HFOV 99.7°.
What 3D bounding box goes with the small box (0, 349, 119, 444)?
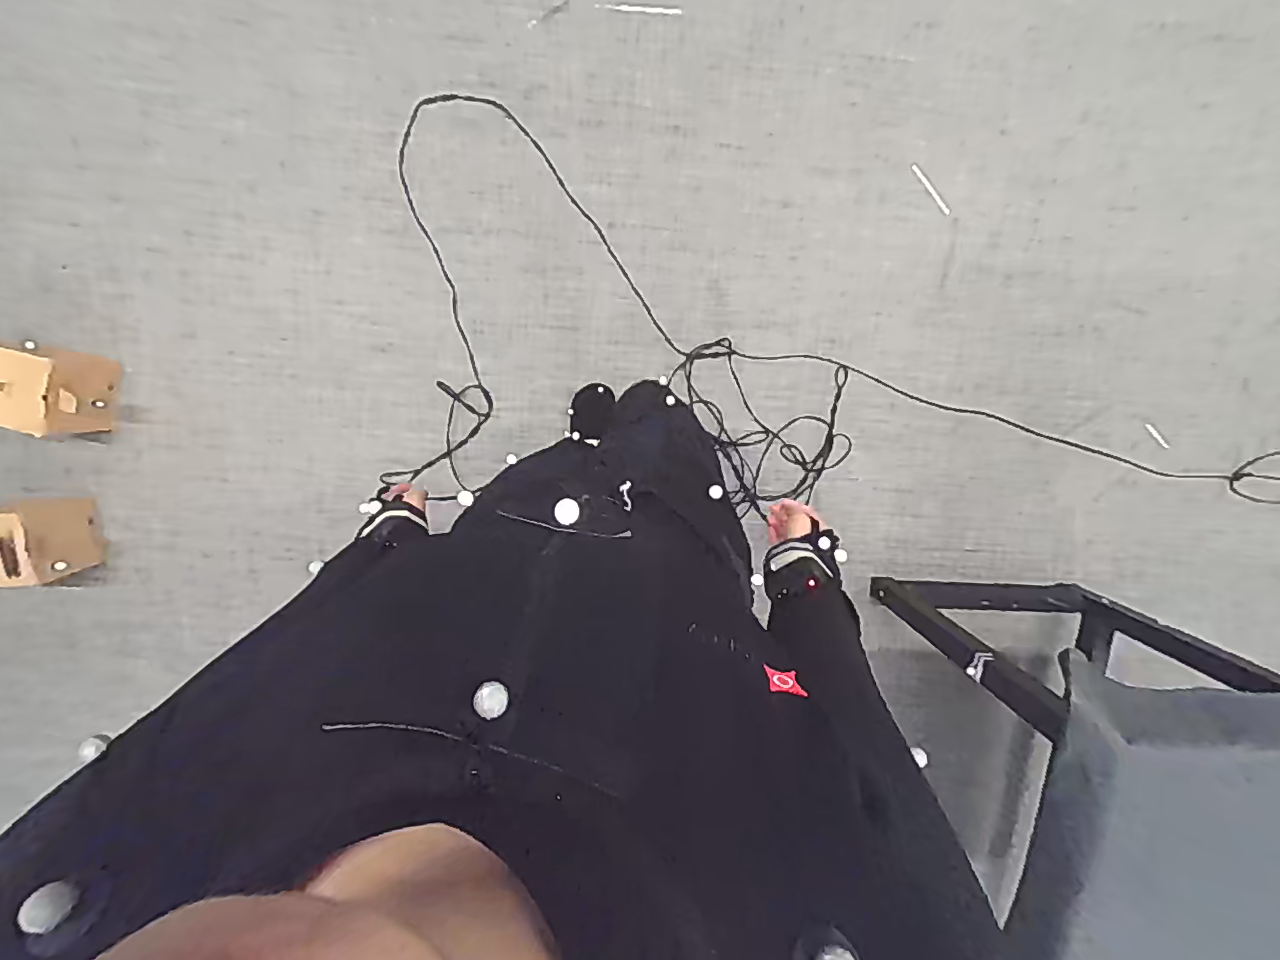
[{"bbox_3d":[-1.307,-0.182,1.175,0.179,0.176,0.168,14,98,-6],"label":"small box"}]
